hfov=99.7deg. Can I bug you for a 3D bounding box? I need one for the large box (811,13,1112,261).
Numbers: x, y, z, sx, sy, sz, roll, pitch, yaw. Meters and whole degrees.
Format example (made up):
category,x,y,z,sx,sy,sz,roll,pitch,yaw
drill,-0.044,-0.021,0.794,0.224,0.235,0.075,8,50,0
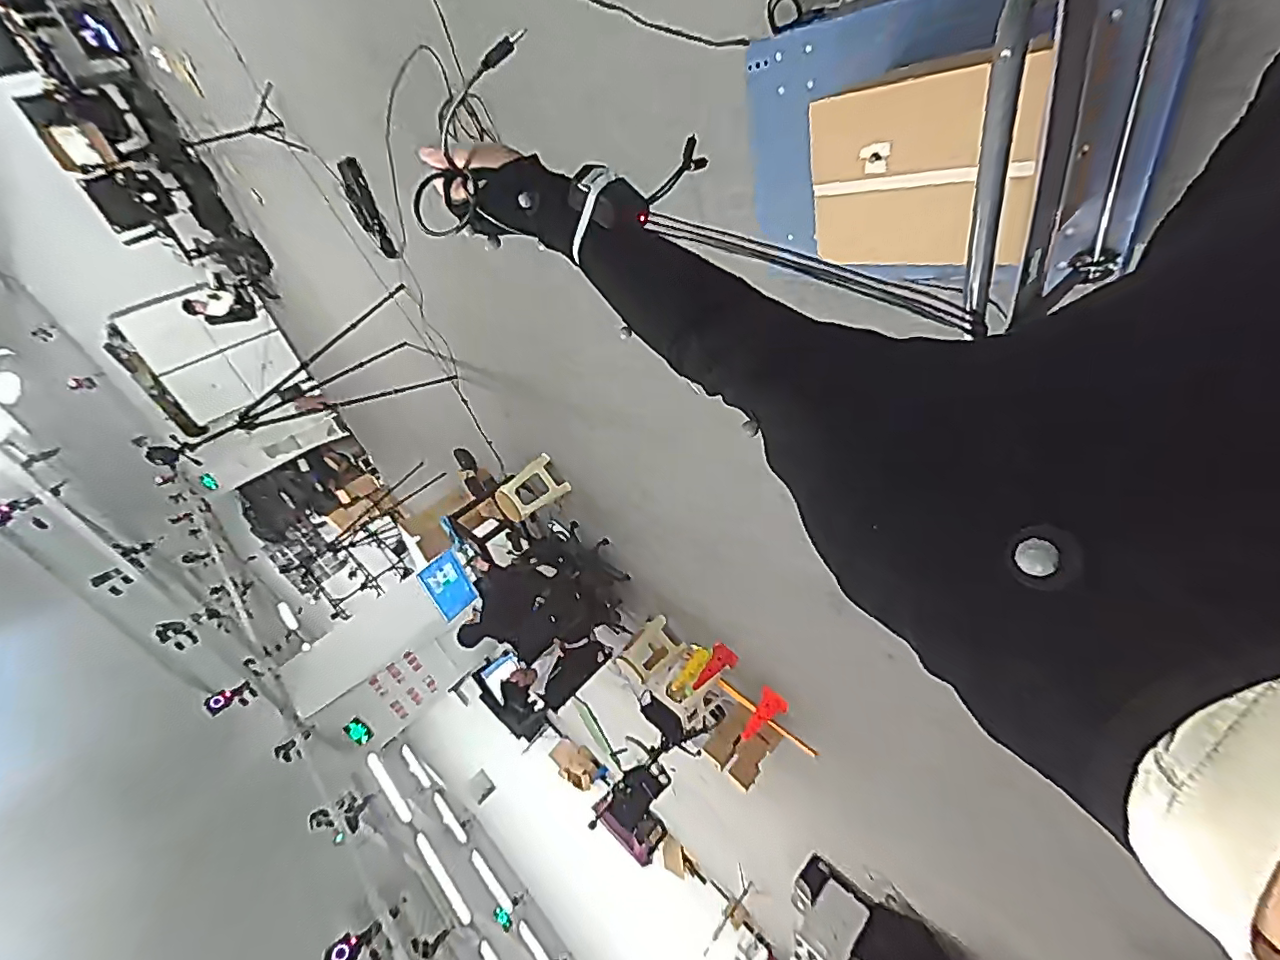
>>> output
category,x,y,z,sx,sy,sz,roll,pitch,yaw
large box,0.606,-0.643,1.064,0.408,0.320,0.320,22,140,43
